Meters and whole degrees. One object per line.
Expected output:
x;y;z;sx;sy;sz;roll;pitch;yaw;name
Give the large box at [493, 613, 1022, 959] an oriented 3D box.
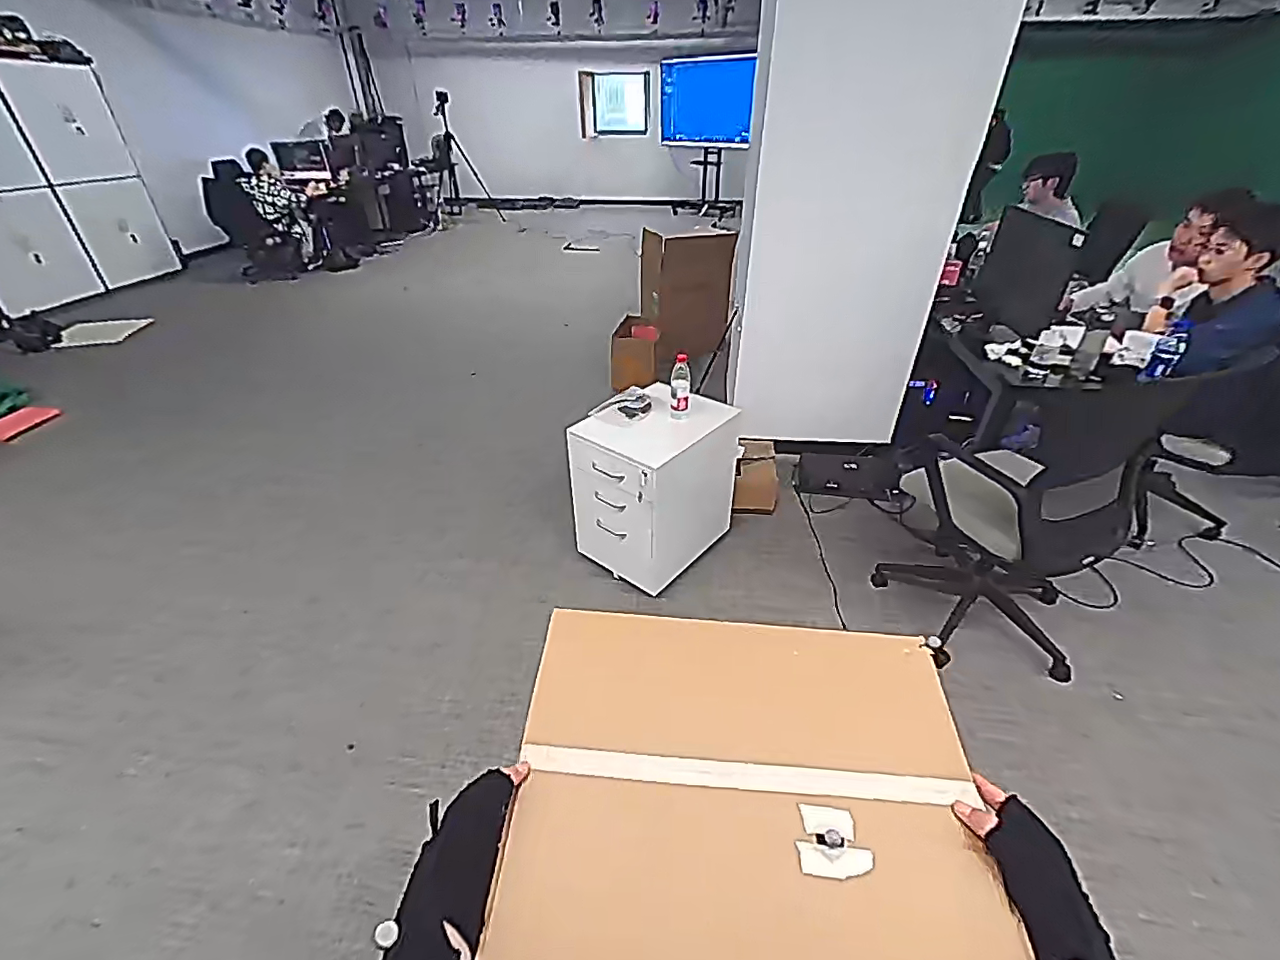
0.092;0.374;0.598;0.408;0.320;0.320;4;45;3;large box
